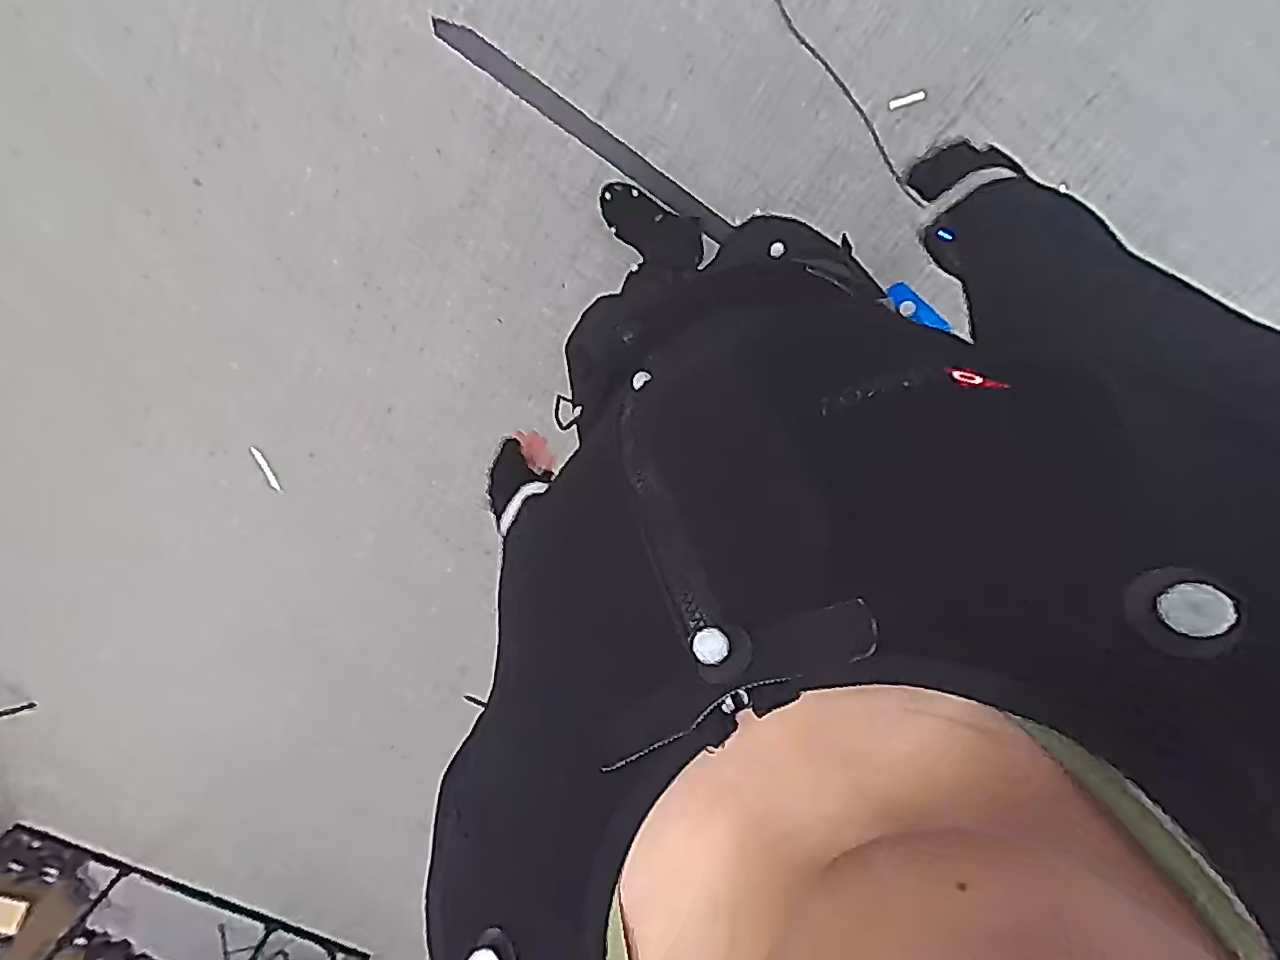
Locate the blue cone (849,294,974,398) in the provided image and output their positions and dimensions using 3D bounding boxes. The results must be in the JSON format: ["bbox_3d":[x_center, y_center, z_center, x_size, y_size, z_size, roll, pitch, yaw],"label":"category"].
[{"bbox_3d":[0.609,-0.256,1.160,0.192,0.380,0.193,34,115,-11],"label":"blue cone"}]
